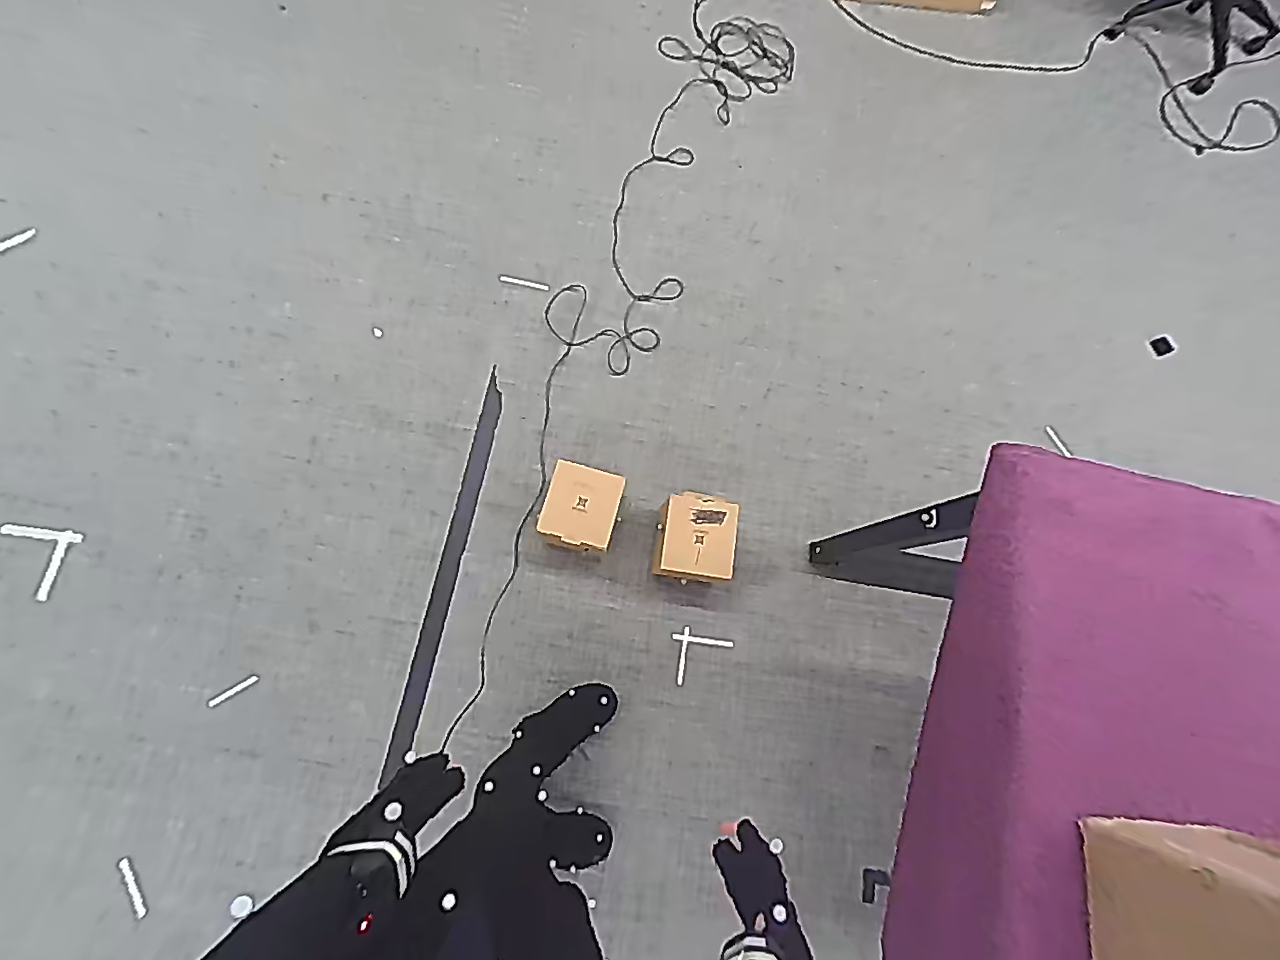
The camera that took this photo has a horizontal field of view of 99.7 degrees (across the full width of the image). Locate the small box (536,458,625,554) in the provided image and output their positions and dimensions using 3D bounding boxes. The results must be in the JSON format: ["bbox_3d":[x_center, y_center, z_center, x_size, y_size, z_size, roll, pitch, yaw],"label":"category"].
[{"bbox_3d":[-0.140,0.071,1.294,0.168,0.176,0.179,16,74,-3],"label":"small box"}]

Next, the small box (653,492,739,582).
[{"bbox_3d":[0.129,0.143,1.301,0.168,0.176,0.179,9,75,-4],"label":"small box"}]
